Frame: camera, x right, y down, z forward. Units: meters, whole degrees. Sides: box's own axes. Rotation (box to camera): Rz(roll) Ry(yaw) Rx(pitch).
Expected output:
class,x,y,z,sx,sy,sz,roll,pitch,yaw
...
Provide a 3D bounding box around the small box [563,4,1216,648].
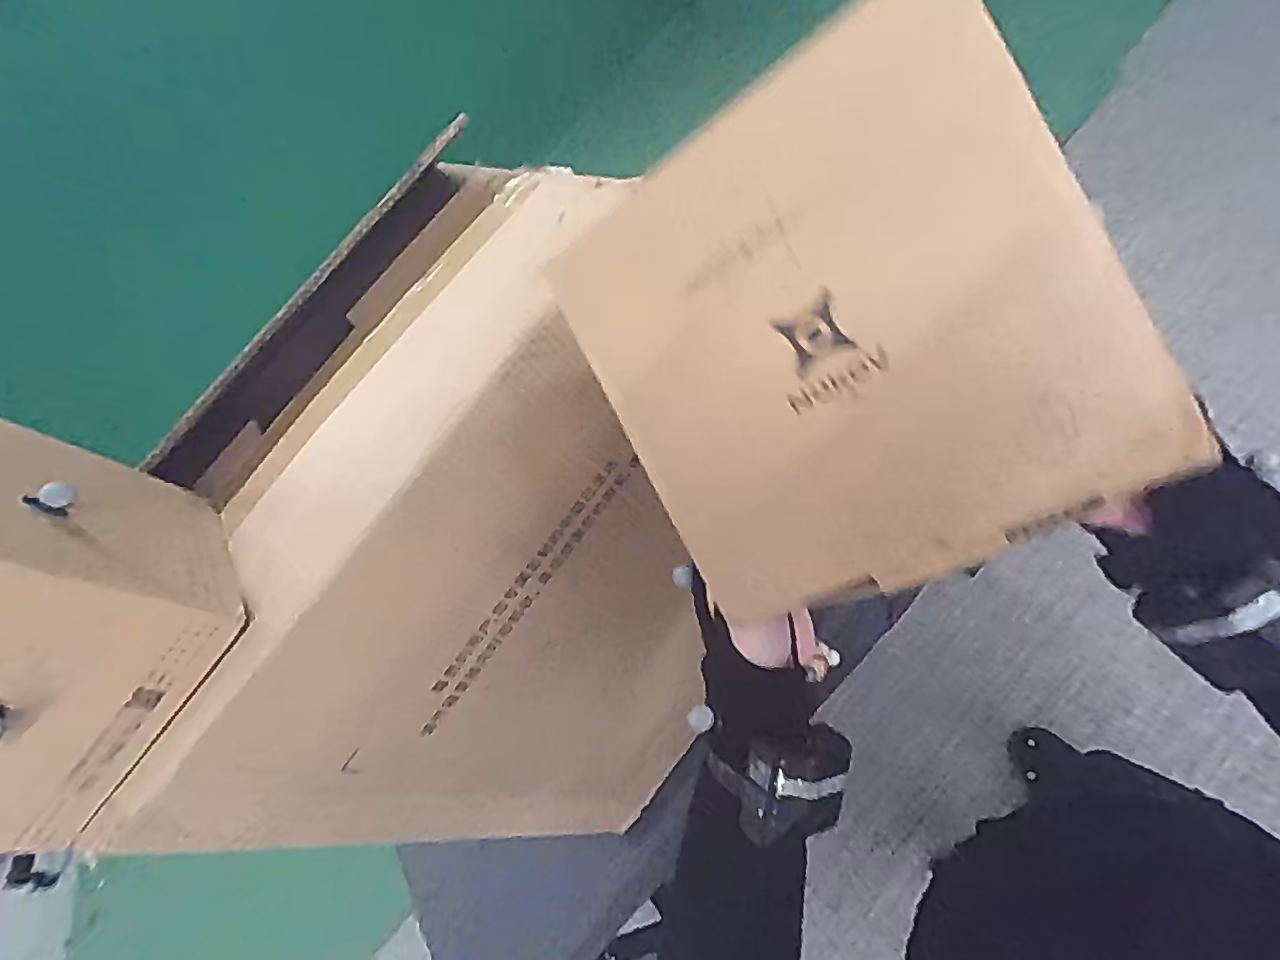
class,x,y,z,sx,sy,sz,roll,pitch,yaw
small box,0.101,-0.052,0.268,0.168,0.176,0.179,-29,87,24

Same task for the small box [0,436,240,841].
class,x,y,z,sx,sy,sz,roll,pitch,yaw
small box,-0.378,0.086,0.321,0.179,0.176,0.168,31,83,41
